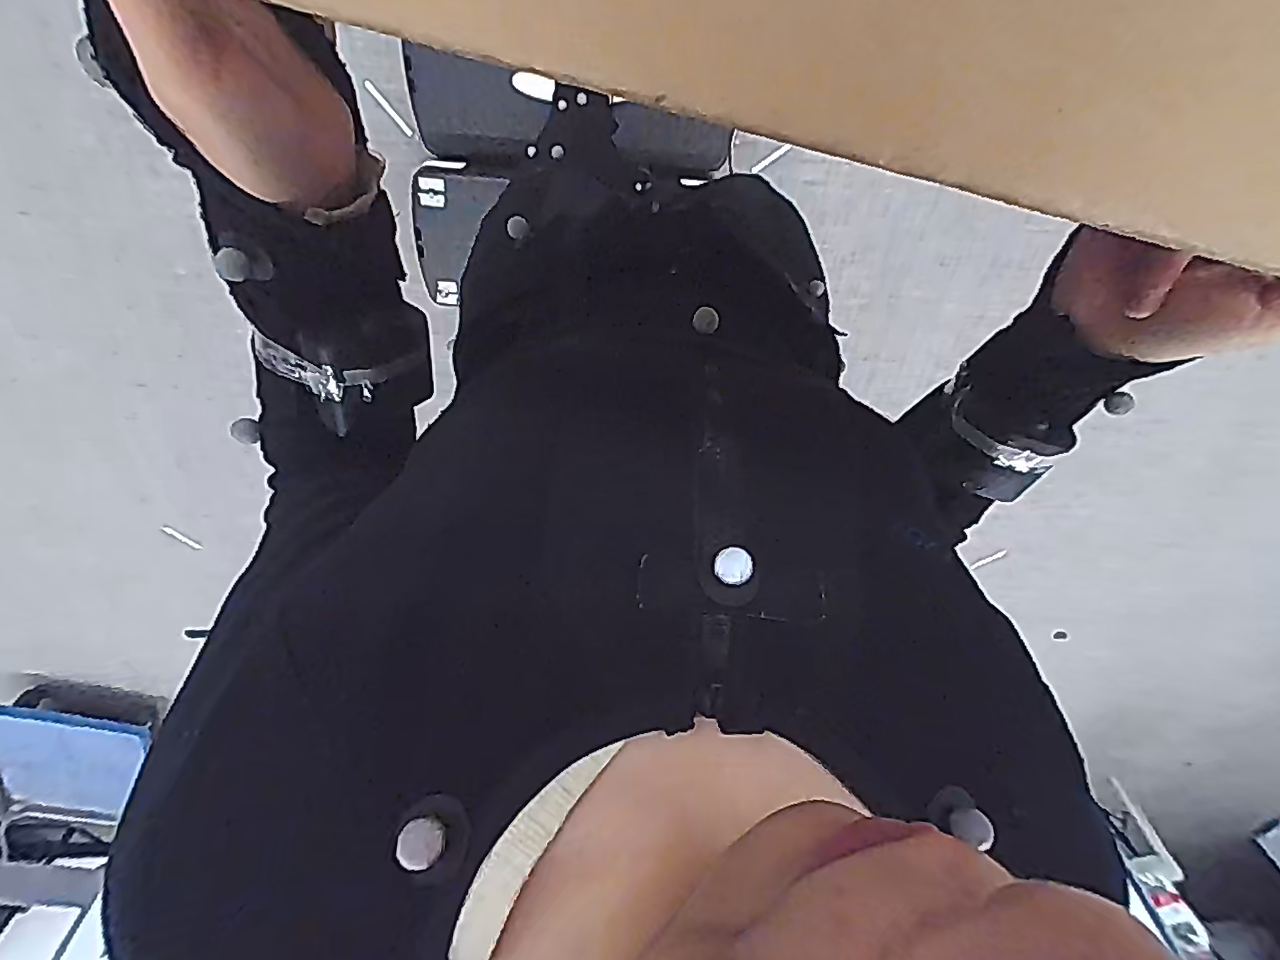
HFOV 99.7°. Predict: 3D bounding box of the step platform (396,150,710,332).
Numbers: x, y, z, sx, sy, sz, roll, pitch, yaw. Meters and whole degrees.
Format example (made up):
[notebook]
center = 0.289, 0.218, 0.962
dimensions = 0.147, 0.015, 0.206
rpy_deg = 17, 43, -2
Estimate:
[step platform]
center = -0.186, -0.539, 1.240
dimensions = 0.684, 0.204, 0.286
rpy_deg = 6, 126, -6
